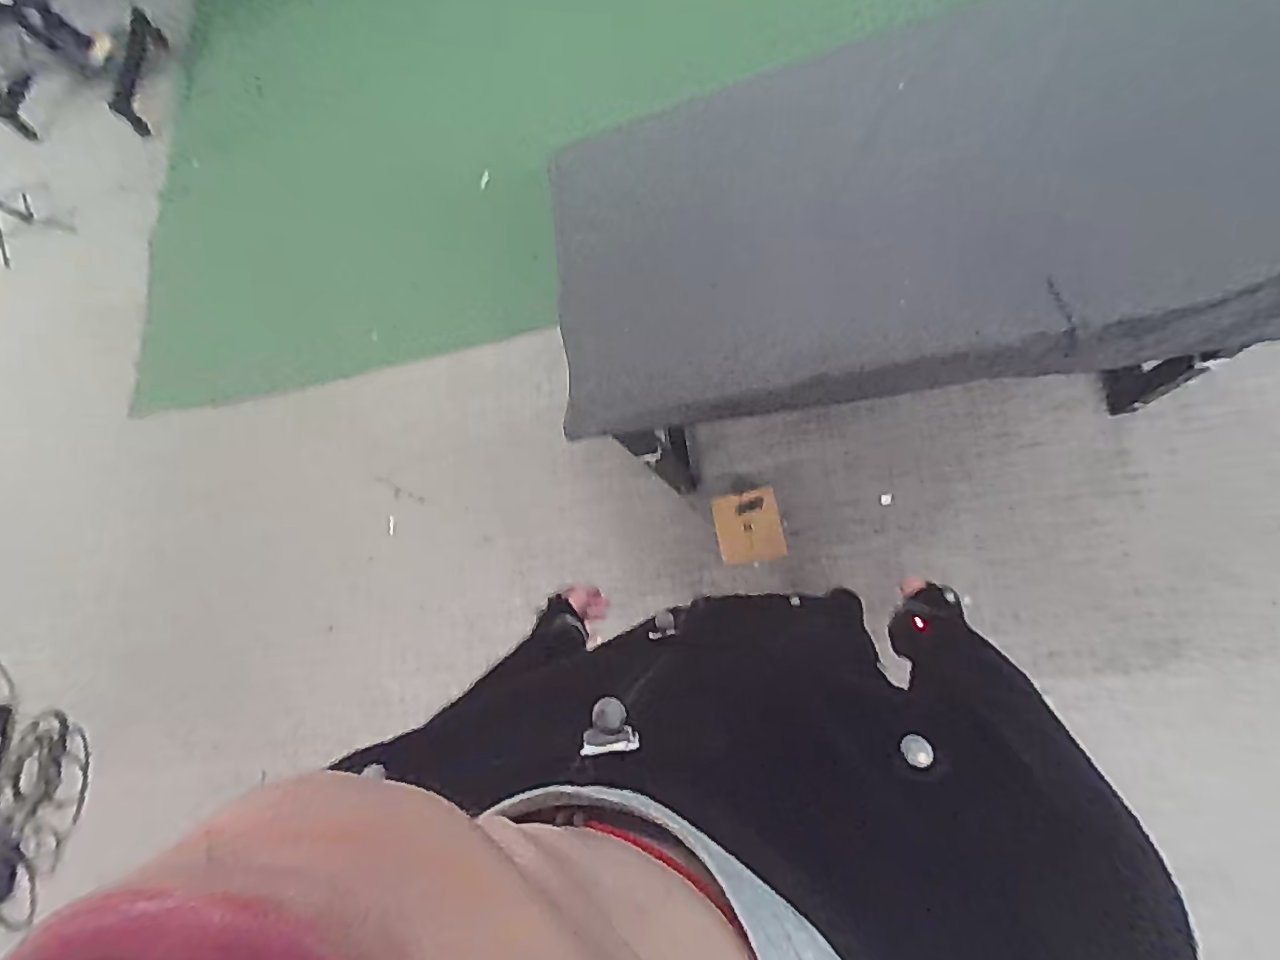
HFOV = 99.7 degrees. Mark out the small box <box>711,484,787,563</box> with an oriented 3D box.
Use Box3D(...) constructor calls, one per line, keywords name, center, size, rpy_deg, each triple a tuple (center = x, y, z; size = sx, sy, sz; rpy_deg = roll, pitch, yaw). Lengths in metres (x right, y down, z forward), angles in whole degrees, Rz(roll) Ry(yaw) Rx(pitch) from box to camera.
Box3D(name="small box", center=(0.297, 0.125, 1.464), size=(0.168, 0.176, 0.179), rpy_deg=(-12, 76, 14))
